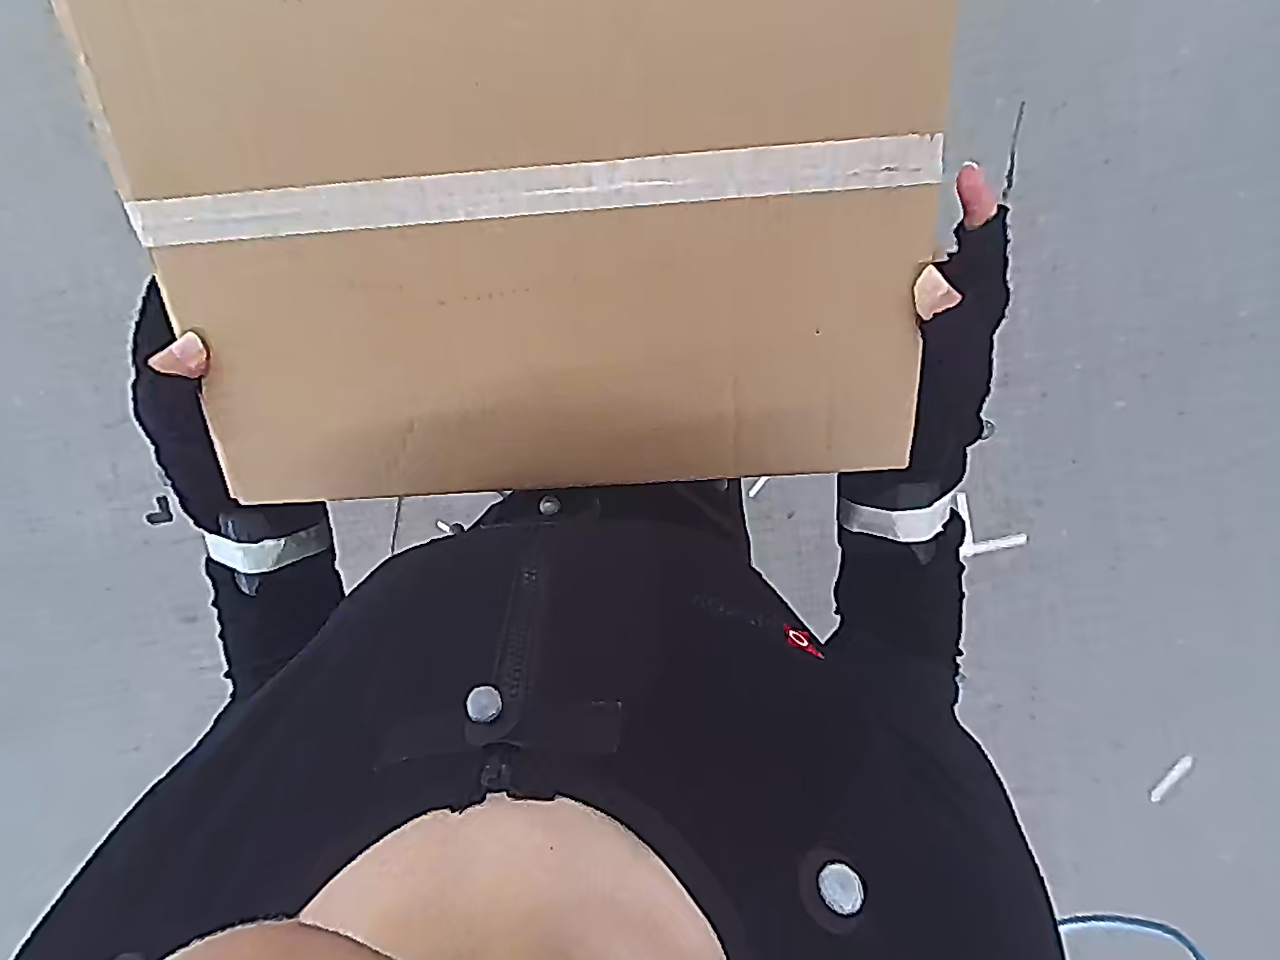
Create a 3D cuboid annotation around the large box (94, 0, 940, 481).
[{"bbox_3d":[-0.054,-0.207,0.418,0.408,0.320,0.320,-4,111,2],"label":"large box"}]
